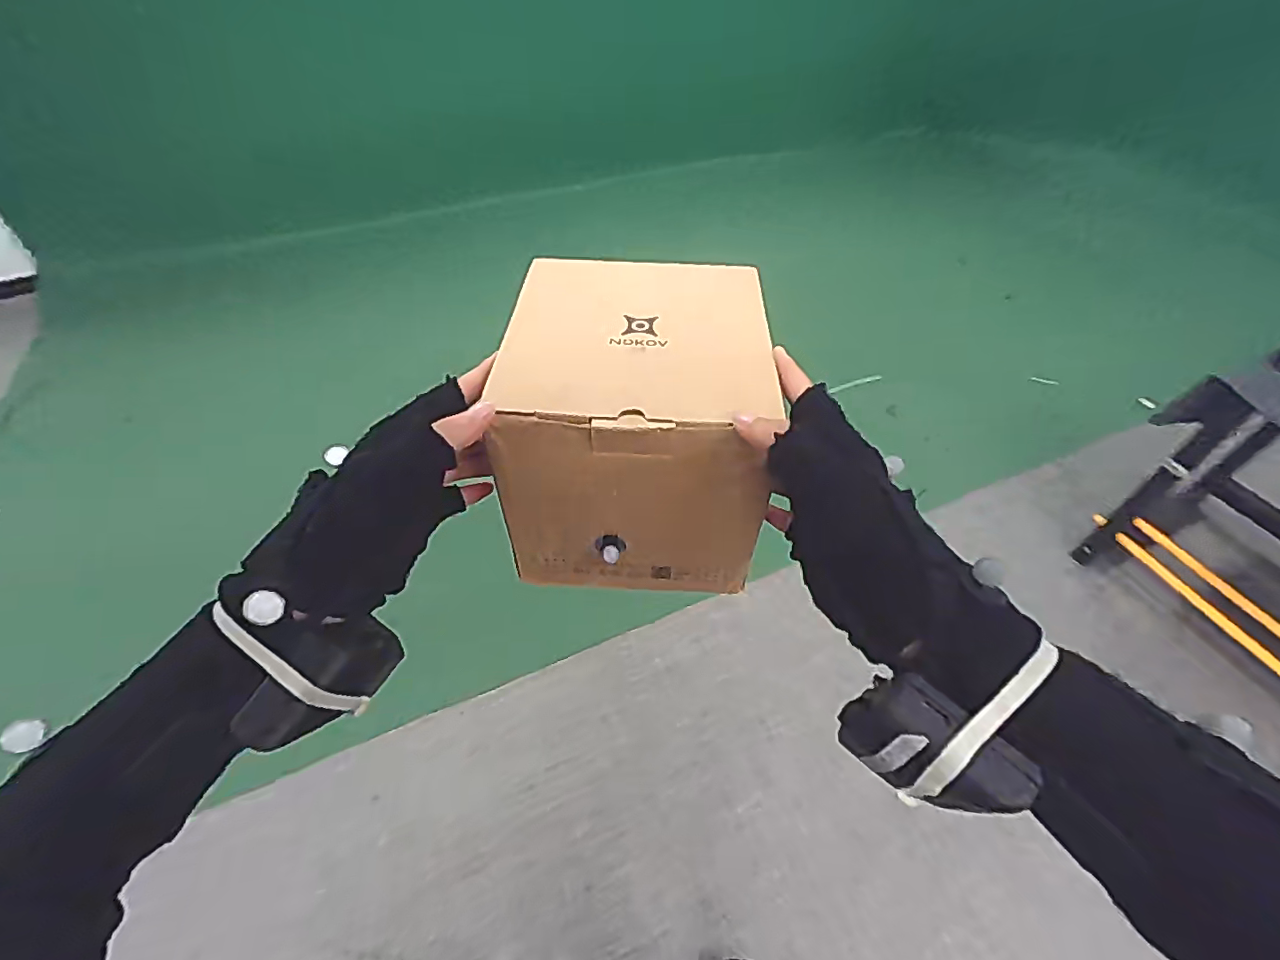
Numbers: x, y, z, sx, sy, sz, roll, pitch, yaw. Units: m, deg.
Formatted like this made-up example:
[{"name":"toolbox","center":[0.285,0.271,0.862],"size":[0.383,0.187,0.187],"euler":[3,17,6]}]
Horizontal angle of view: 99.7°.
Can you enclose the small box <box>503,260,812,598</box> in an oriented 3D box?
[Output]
[{"name":"small box","center":[0.010,-0.036,0.395],"size":[0.168,0.176,0.179],"euler":[3,49,1]}]
